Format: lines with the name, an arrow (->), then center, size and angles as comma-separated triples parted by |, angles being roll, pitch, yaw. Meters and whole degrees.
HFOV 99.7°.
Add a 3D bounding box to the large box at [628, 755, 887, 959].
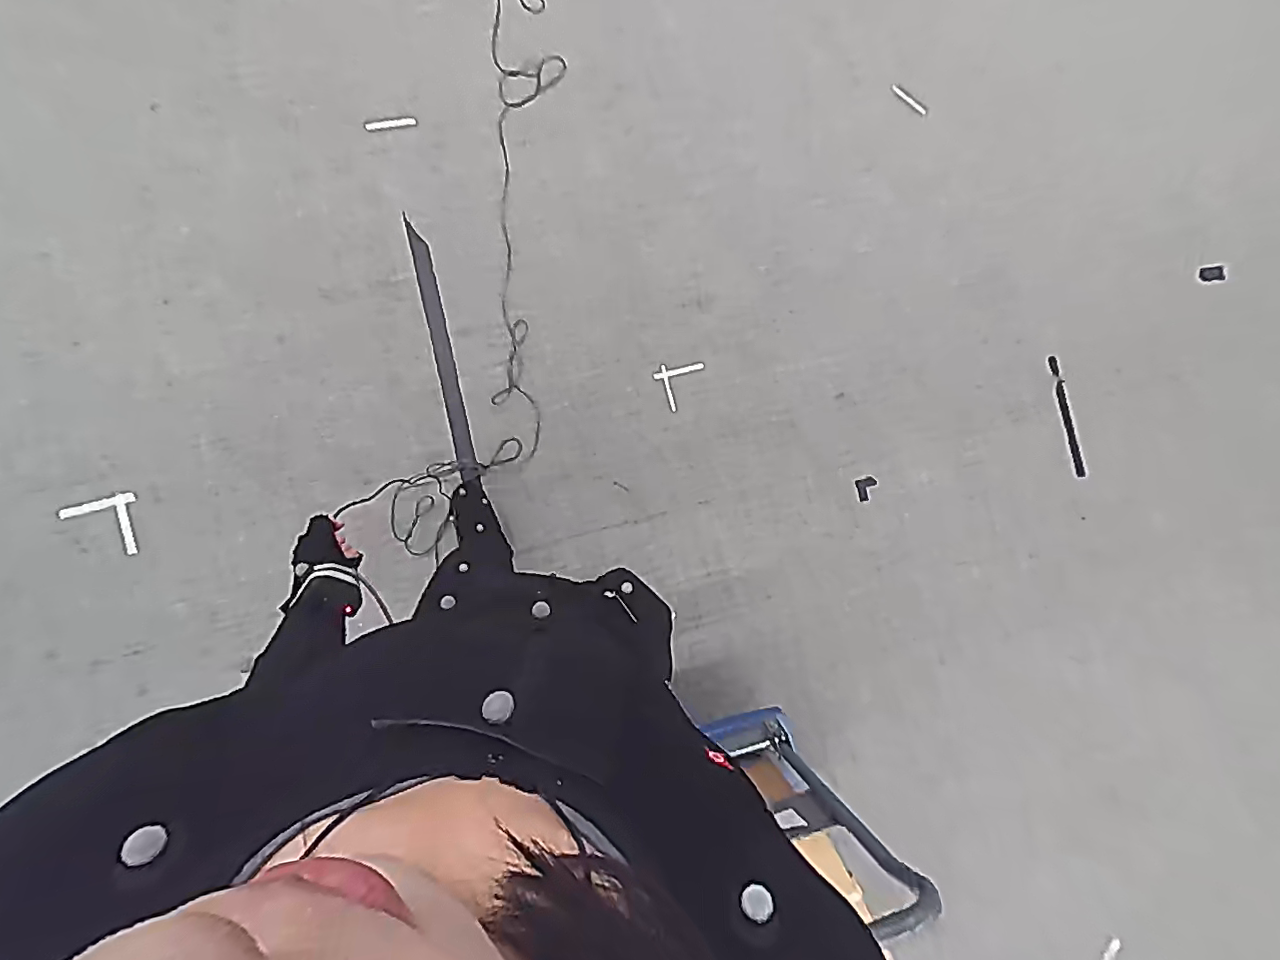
large box -> 0.226, 0.892, 1.172 | 0.408, 0.320, 0.320 | -28, 88, -7
